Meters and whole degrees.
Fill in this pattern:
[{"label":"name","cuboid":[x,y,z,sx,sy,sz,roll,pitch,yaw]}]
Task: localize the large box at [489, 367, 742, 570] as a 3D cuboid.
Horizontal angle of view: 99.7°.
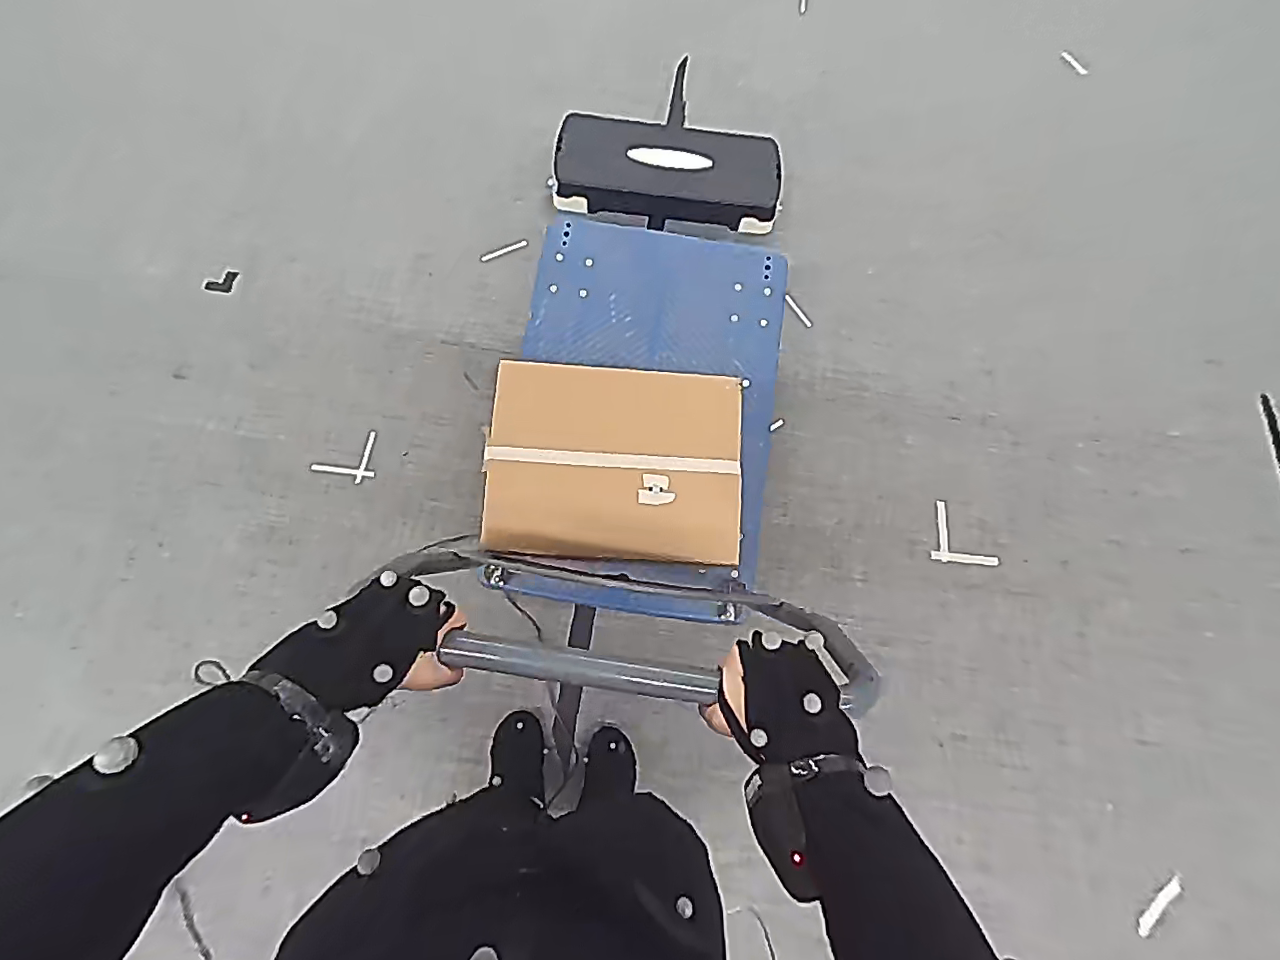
[{"label":"large box","cuboid":[-0.044,0.002,1.018,0.408,0.320,0.320,4,80,-3]}]
